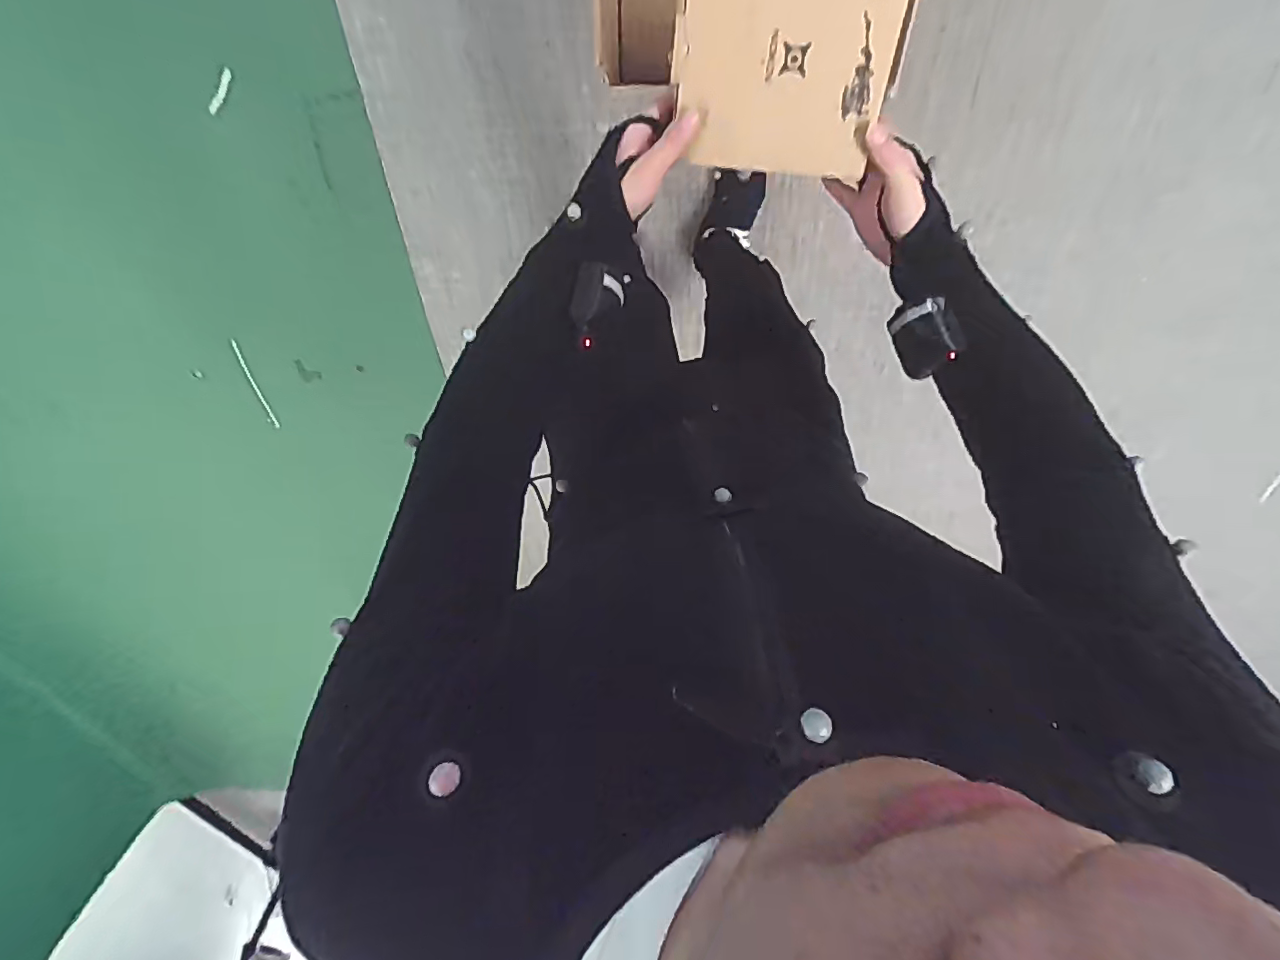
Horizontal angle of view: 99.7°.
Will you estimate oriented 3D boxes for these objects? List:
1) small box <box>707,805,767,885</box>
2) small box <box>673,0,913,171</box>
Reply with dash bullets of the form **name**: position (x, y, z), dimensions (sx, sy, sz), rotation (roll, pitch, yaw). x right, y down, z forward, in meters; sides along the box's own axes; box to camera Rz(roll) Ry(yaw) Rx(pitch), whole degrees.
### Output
- **small box**: position (0.307, 1.153, 1.715), dimensions (0.179, 0.176, 0.168), rotation (-4, 129, 9)
- **small box**: position (0.133, -0.396, 0.505), dimensions (0.179, 0.176, 0.168), rotation (8, 125, 4)
